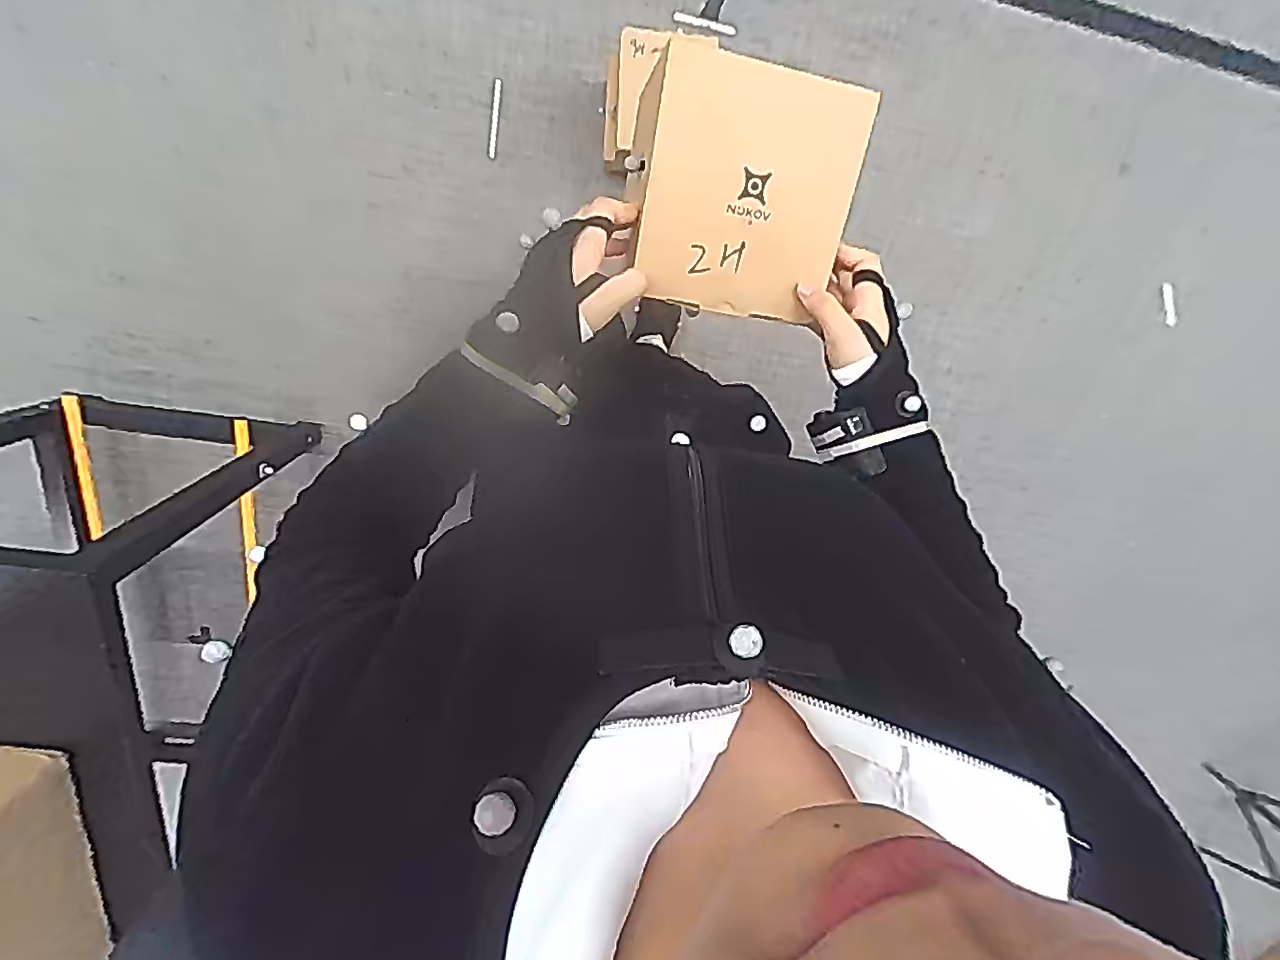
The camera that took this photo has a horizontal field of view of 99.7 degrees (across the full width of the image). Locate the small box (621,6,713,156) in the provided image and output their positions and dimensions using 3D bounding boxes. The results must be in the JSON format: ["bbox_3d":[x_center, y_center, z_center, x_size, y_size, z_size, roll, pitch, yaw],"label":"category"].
[{"bbox_3d":[0.055,-0.654,0.915,0.168,0.176,0.179,2,113,-5],"label":"small box"}]

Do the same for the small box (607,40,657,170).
[{"bbox_3d":[0.023,-0.721,1.062,0.168,0.176,0.179,3,114,-6],"label":"small box"}]

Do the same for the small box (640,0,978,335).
[{"bbox_3d":[0.100,-0.222,0.412,0.168,0.176,0.179,6,112,-11],"label":"small box"}]
